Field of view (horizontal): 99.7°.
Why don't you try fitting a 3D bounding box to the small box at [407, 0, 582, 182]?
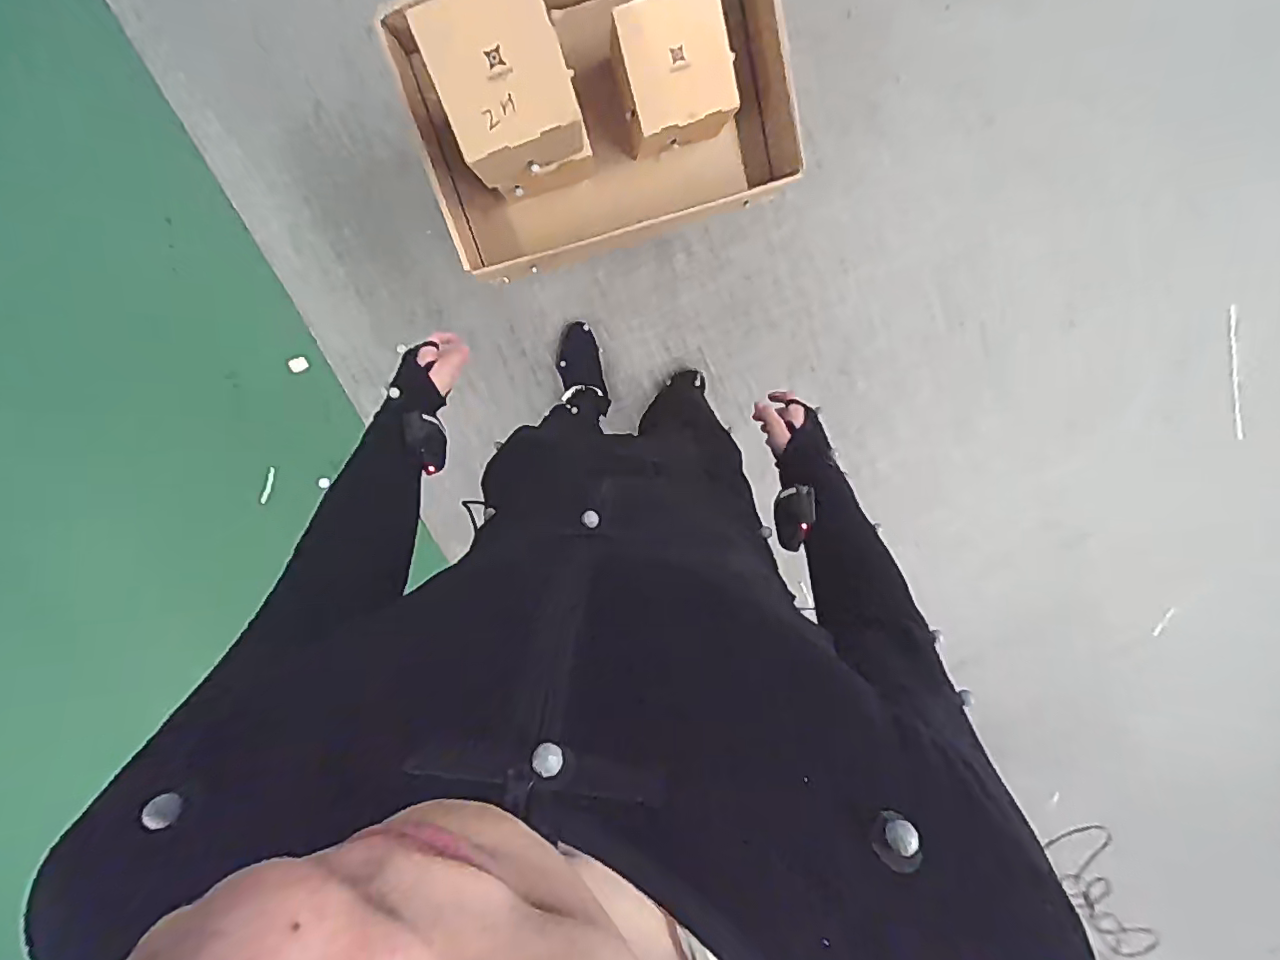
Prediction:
[{"bbox_3d":[-0.187,-0.544,0.748,0.168,0.176,0.179,-20,111,1],"label":"small box"}]
